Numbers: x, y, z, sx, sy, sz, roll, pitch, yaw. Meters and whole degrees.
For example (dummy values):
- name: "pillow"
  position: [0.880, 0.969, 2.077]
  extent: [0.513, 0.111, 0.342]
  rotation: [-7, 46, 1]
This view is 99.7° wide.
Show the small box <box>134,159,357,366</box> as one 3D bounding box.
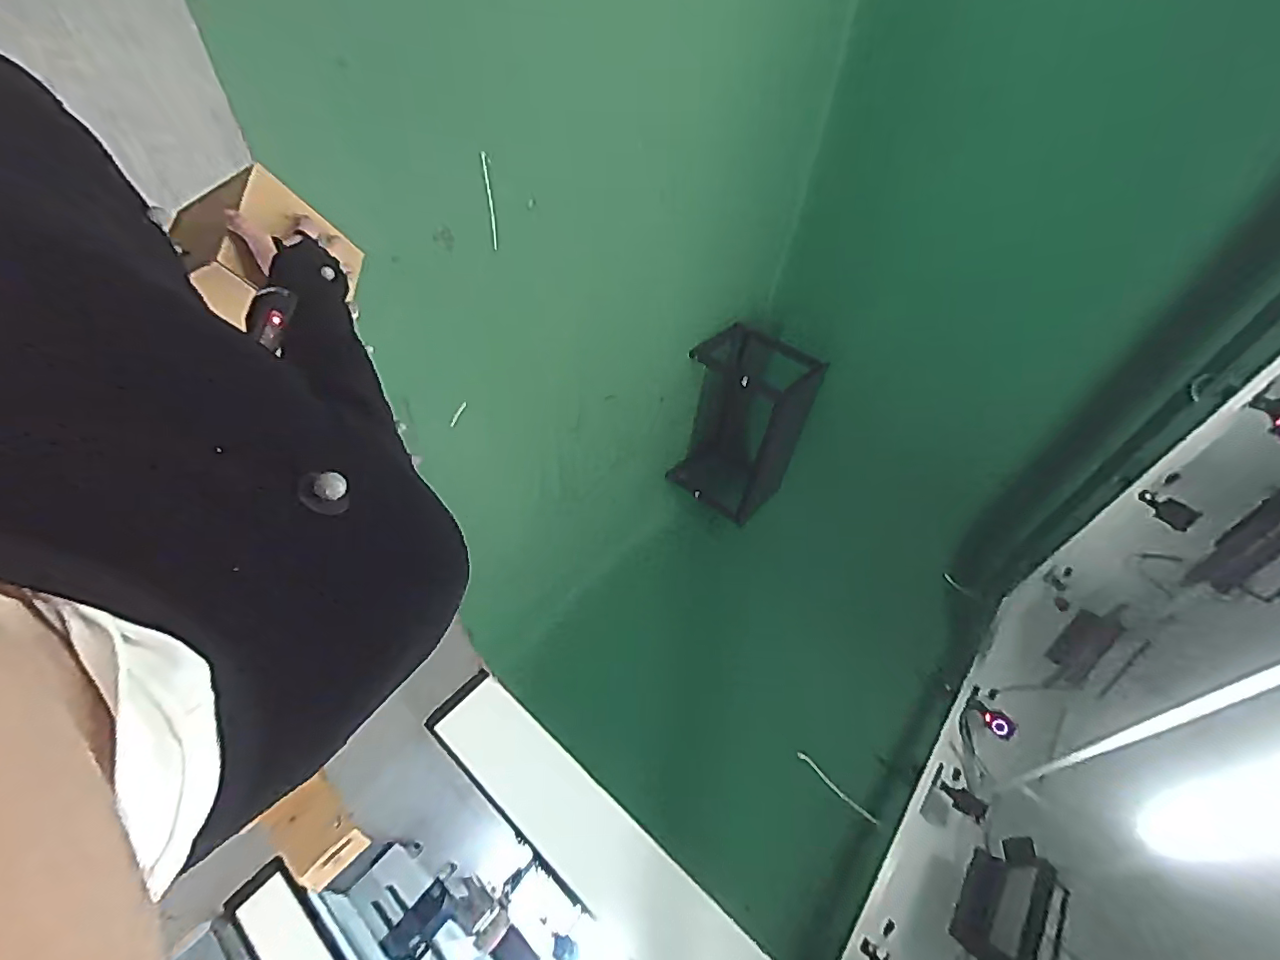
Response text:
- name: "small box"
  position: [-0.530, -0.282, 0.738]
  extent: [0.168, 0.176, 0.179]
  rotation: [44, 39, -56]

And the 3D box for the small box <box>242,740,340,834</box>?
- name: "small box"
  position: [-1.063, 0.932, 1.652]
  extent: [0.168, 0.176, 0.179]
  rotation: [-39, 150, -34]
